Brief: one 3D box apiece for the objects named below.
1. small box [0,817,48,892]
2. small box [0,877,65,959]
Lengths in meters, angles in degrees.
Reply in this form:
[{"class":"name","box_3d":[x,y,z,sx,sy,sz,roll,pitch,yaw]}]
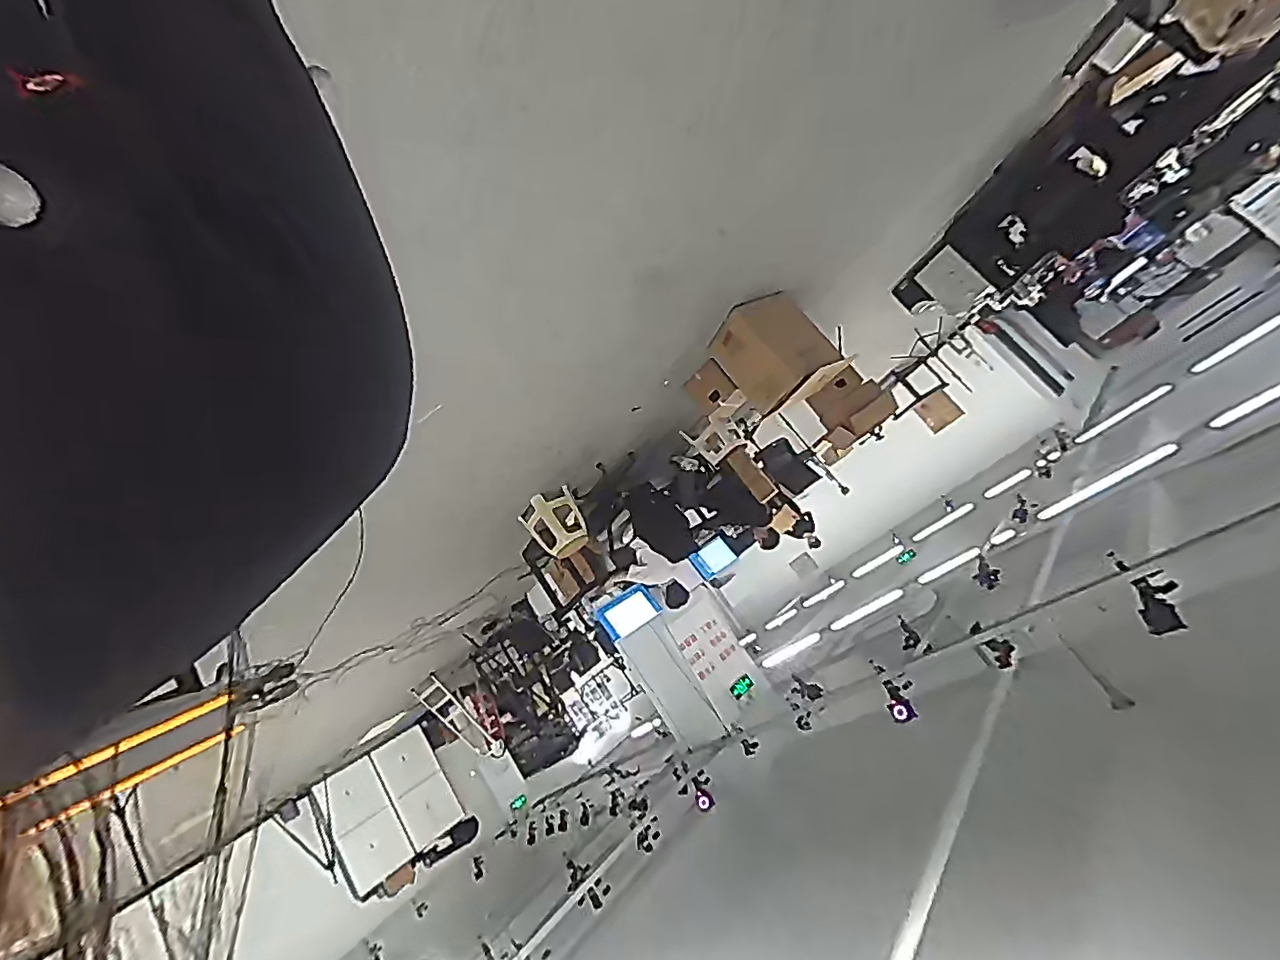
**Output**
[{"class":"small box","box_3d":[-1.697,1.011,1.400,0.168,0.176,0.179,-25,162,-42]},{"class":"small box","box_3d":[-1.604,1.142,1.361,0.168,0.176,0.179,-23,159,-43]}]
